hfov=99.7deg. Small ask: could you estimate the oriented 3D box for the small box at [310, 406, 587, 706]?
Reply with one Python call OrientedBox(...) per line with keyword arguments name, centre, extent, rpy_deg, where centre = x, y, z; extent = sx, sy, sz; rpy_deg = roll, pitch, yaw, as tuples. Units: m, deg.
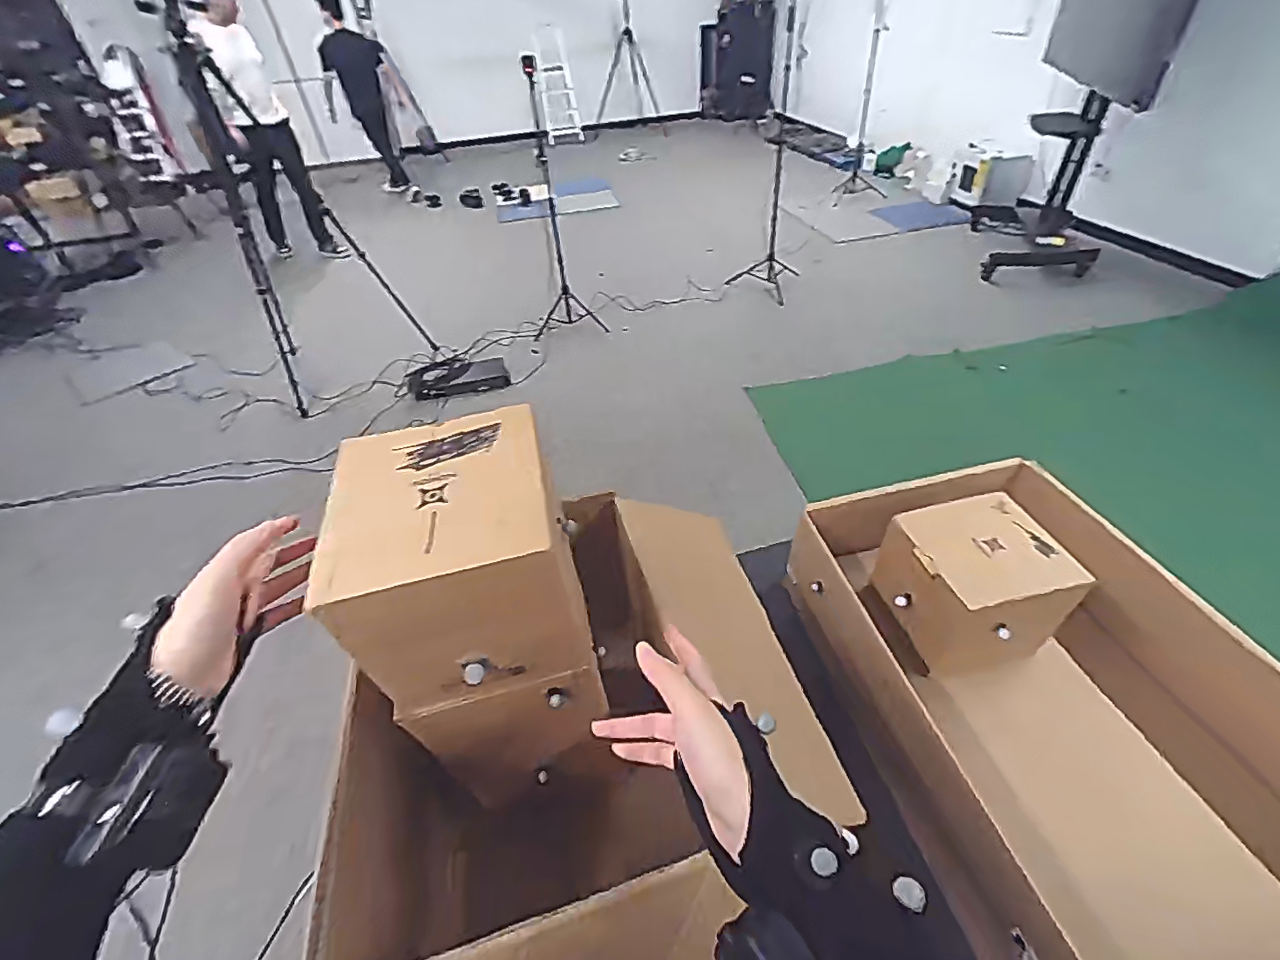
OrientedBox(name="small box", centre=(-0.149, 0.065, 0.475), extent=(0.168, 0.176, 0.179), rpy_deg=(-13, 46, -6))
